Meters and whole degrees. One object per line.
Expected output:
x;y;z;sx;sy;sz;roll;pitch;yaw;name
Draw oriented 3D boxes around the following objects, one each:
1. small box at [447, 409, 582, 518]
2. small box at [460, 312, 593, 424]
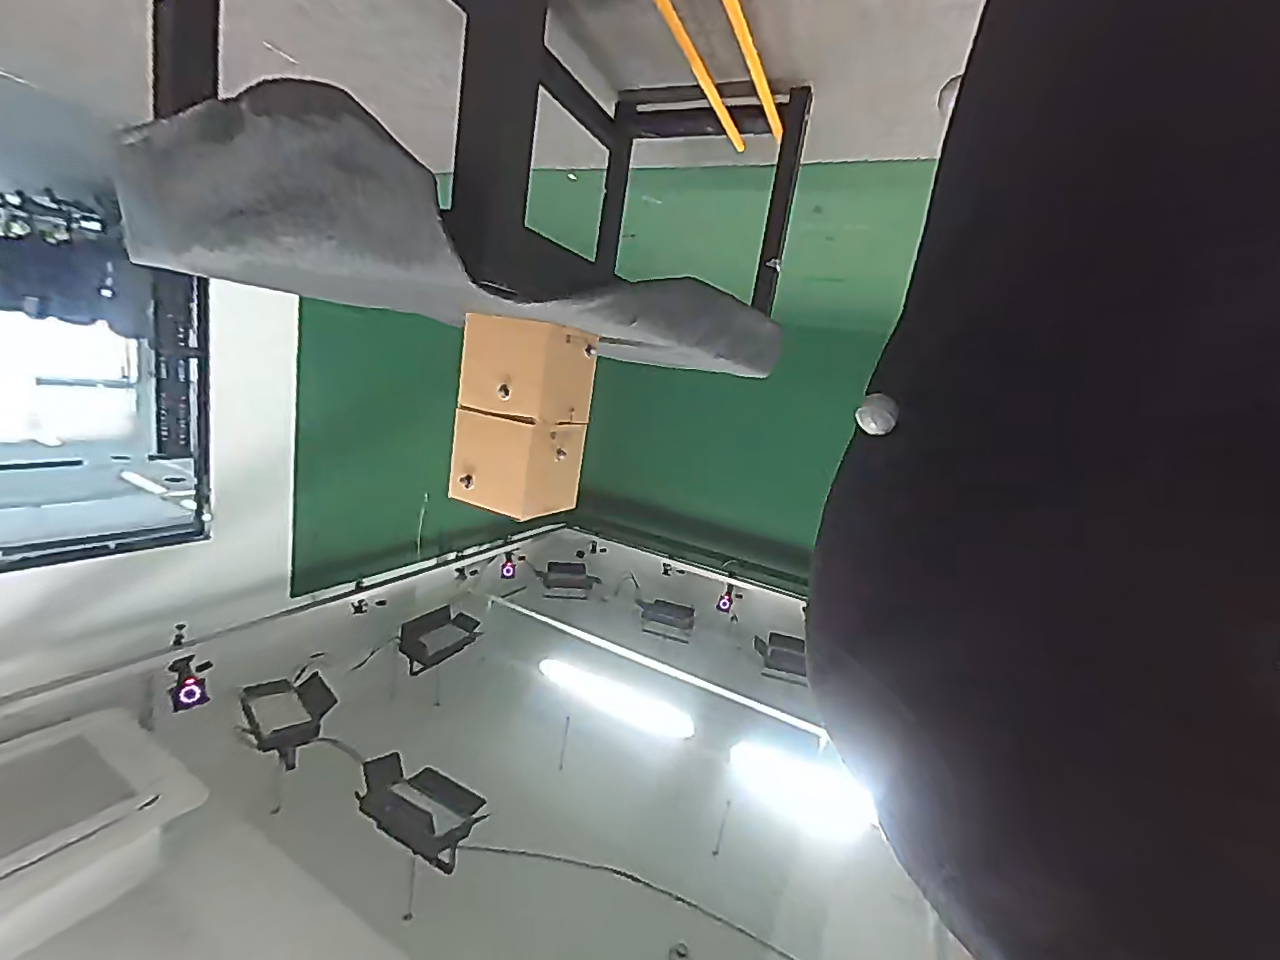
-0.228;-0.041;1.005;0.179;0.176;0.168;14;-168;25;small box
-0.198;-0.201;0.975;0.179;0.176;0.168;15;-169;23;small box
